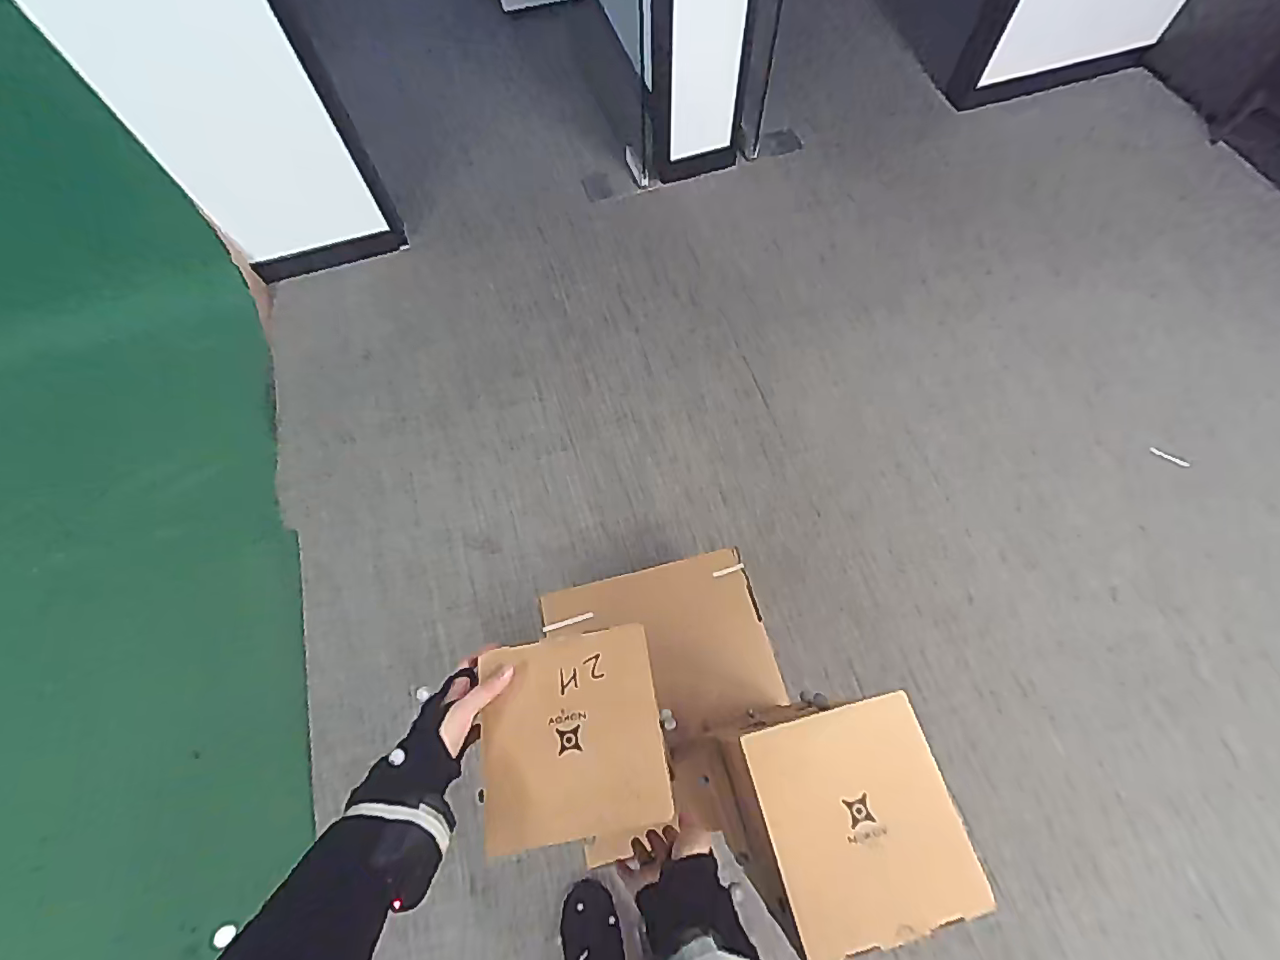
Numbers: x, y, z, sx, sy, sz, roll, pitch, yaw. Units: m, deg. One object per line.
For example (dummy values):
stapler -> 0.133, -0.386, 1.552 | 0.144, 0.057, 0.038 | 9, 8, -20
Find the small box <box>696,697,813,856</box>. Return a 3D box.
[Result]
small box -> 0.196, 0.450, 0.843 | 0.179, 0.176, 0.168 | -16, 65, -5

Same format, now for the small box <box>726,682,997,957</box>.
small box -> 0.195, 0.319, 0.542 | 0.168, 0.176, 0.179 | -14, 66, -5

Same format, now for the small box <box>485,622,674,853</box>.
small box -> -0.057, 0.264, 0.573 | 0.168, 0.176, 0.179 | -9, 64, -2
